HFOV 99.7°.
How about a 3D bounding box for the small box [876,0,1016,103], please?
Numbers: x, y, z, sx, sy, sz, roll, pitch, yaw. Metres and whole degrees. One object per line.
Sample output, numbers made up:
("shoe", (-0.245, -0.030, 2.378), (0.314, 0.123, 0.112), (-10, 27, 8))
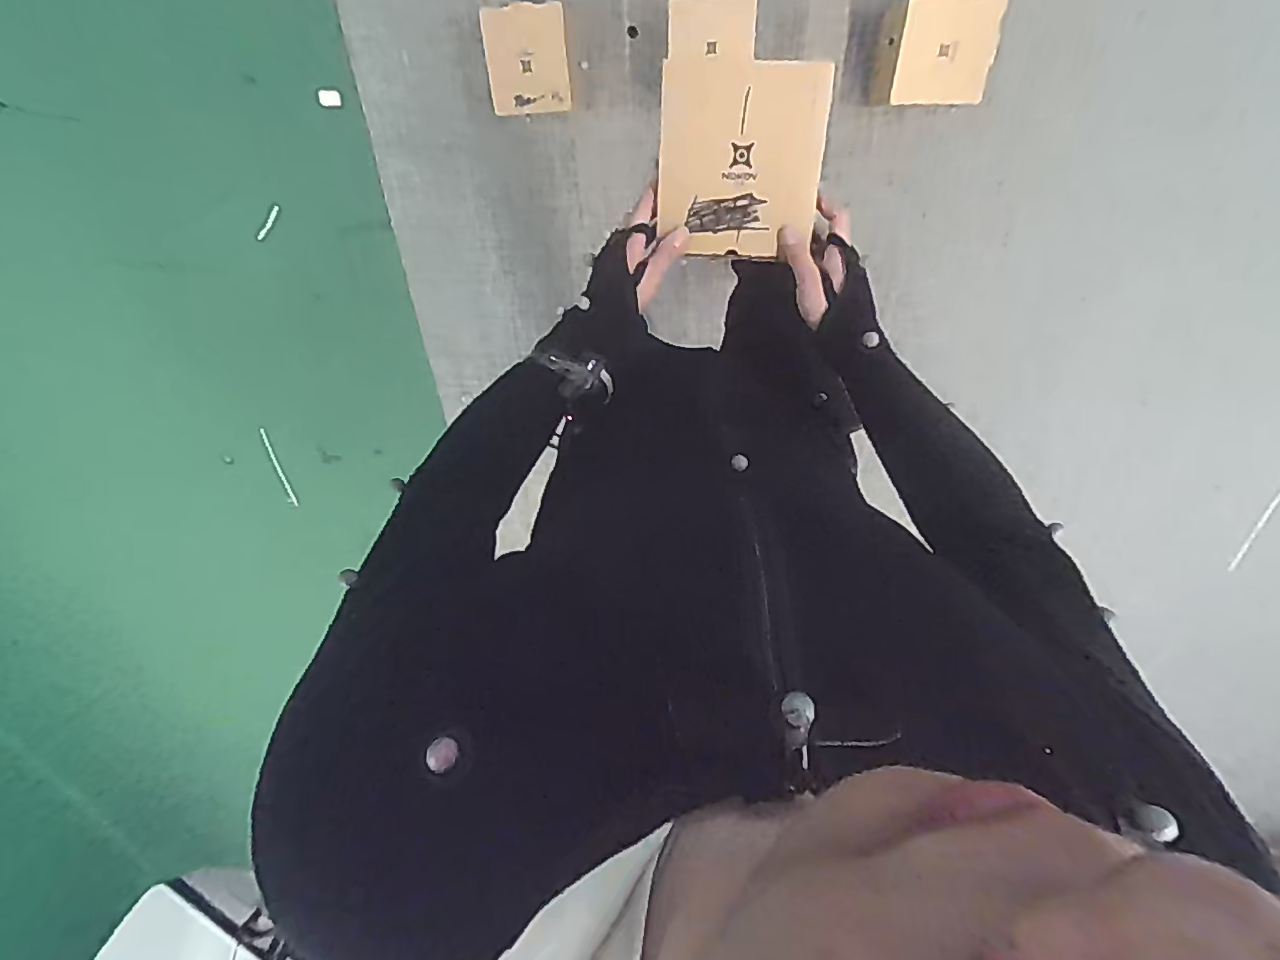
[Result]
("small box", (0.581, -0.839, 1.052), (0.179, 0.176, 0.168), (2, 123, 4))

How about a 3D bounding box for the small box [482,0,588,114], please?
("small box", (-0.208, -0.871, 1.119), (0.168, 0.176, 0.179), (1, 122, 7))

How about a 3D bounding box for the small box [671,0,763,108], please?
("small box", (0.148, -0.860, 1.086), (0.168, 0.176, 0.179), (2, 123, 6))
